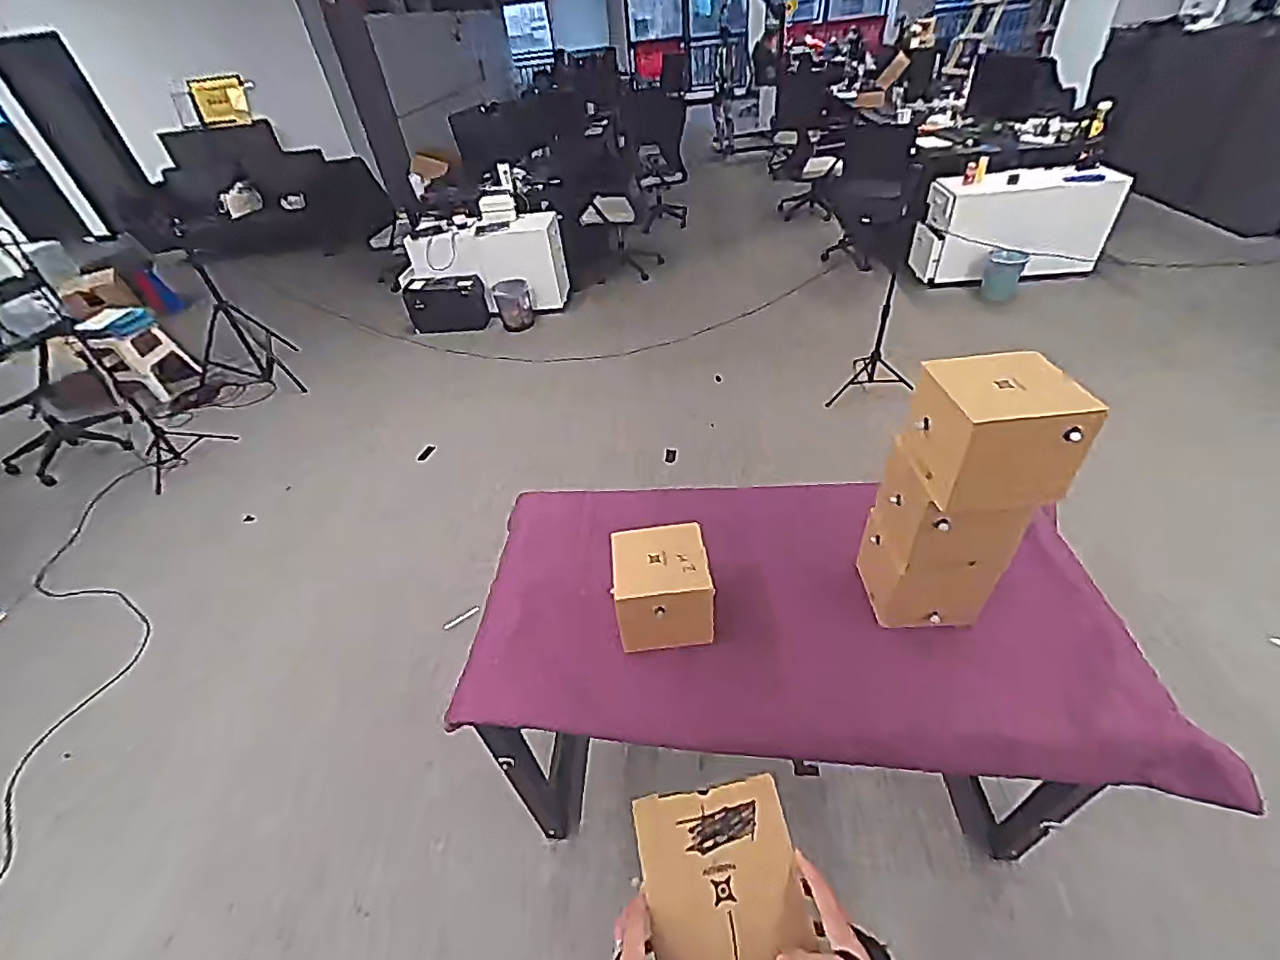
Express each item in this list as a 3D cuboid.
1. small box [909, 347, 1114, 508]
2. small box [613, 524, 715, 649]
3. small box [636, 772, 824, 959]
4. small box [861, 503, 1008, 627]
[{"bbox_3d":[0.518,-0.074,0.792,0.179,0.176,0.168,-6,40,2],"label":"small box"},{"bbox_3d":[0.046,0.207,1.038,0.179,0.176,0.168,-6,40,0],"label":"small box"},{"bbox_3d":[0.086,0.458,0.623,0.168,0.176,0.179,-8,55,-5],"label":"small box"},{"bbox_3d":[0.540,0.161,1.021,0.179,0.176,0.168,-3,40,4],"label":"small box"}]
